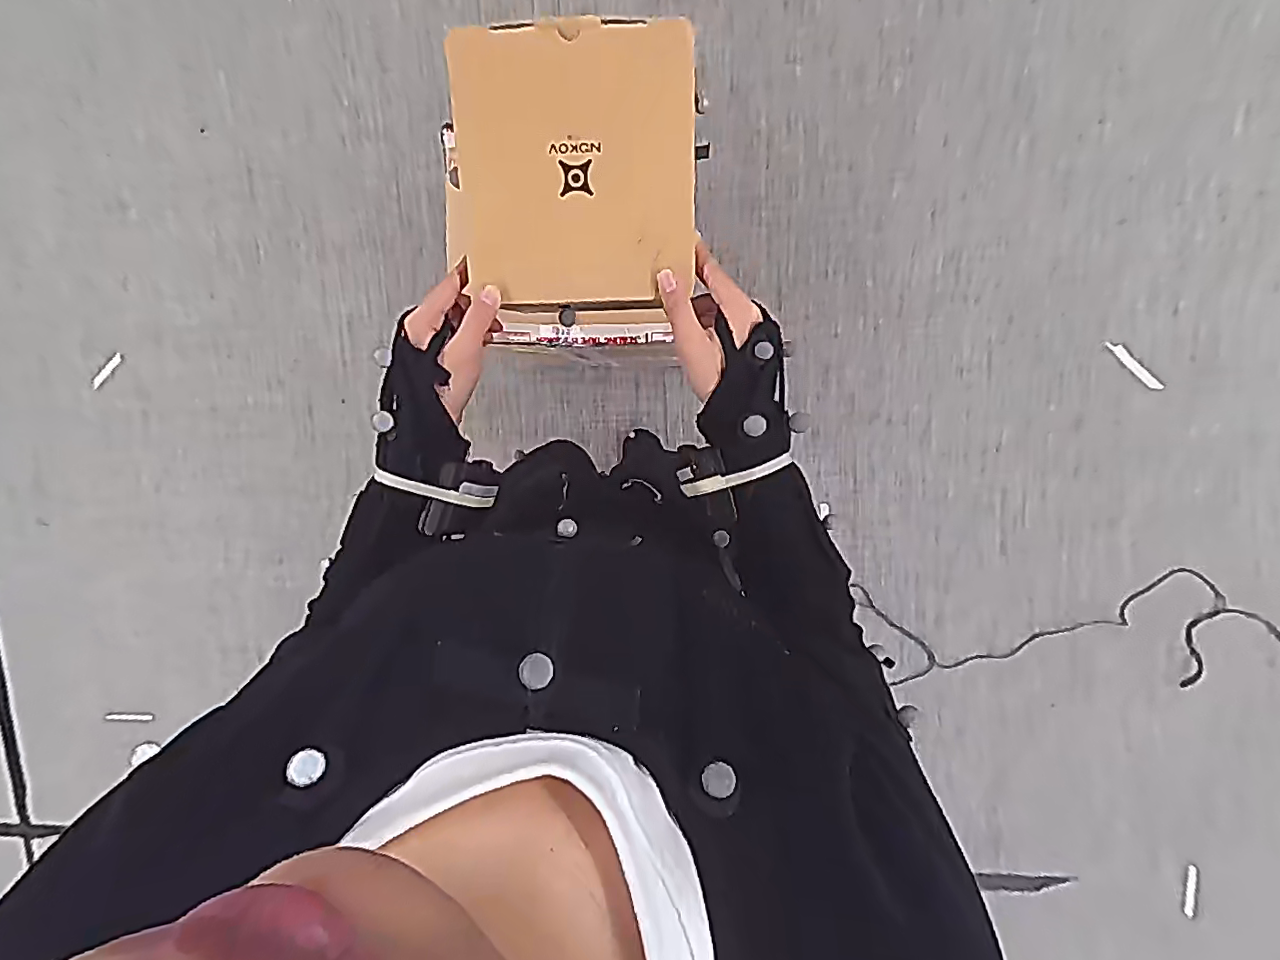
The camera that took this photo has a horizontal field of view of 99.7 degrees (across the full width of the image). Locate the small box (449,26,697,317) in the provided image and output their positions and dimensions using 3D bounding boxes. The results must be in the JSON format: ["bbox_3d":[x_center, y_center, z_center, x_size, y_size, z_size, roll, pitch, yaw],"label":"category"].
[{"bbox_3d":[-0.040,-0.229,0.451,0.168,0.176,0.179,-2,105,1],"label":"small box"}]
